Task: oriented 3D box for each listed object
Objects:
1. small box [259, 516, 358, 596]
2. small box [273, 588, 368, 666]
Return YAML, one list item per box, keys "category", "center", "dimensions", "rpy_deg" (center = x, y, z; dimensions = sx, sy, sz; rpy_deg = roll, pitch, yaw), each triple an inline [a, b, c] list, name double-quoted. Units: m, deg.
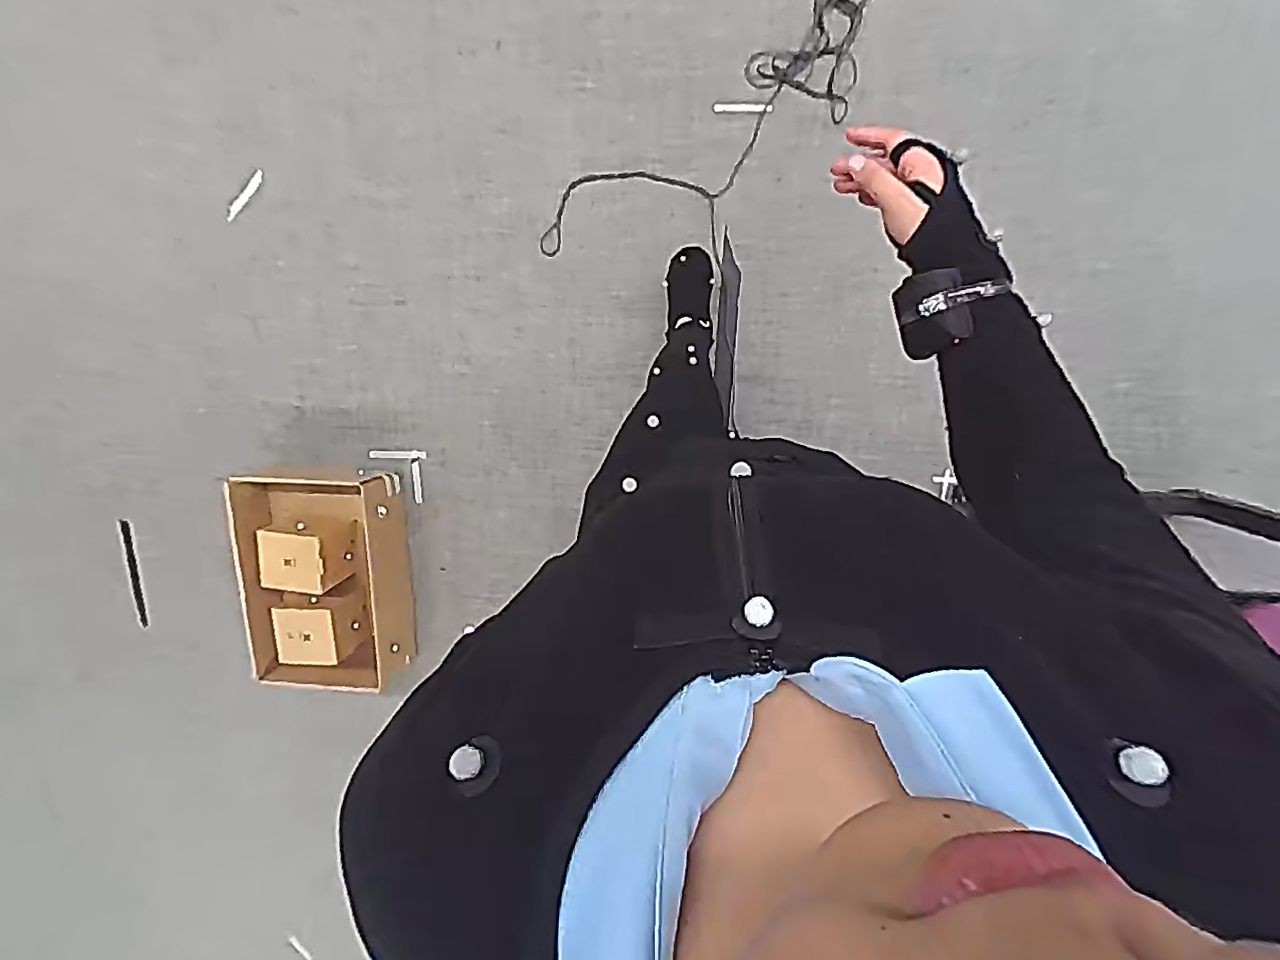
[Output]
- category: "small box"
  center: [-0.926, 0.206, 1.520]
  dimensions: [0.179, 0.176, 0.168]
  rpy_deg: [7, 104, 4]
- category: "small box"
  center: [-0.911, 0.419, 1.562]
  dimensions: [0.179, 0.176, 0.168]
  rpy_deg: [0, 100, 6]
